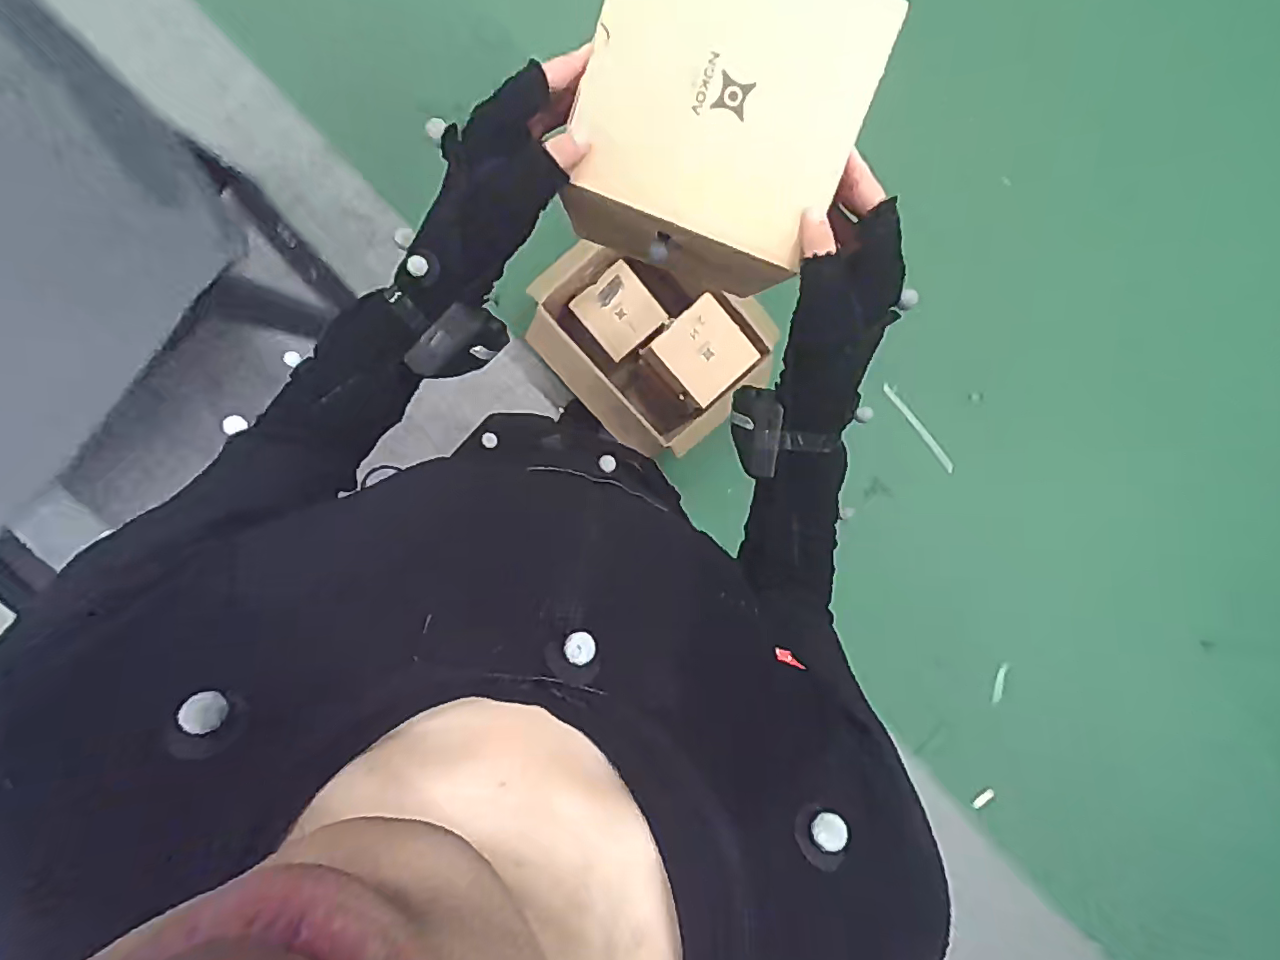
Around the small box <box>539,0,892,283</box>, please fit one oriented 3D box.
[{"bbox_3d":[0.042,-0.258,0.405,0.179,0.176,0.168,17,103,-5],"label":"small box"}]
